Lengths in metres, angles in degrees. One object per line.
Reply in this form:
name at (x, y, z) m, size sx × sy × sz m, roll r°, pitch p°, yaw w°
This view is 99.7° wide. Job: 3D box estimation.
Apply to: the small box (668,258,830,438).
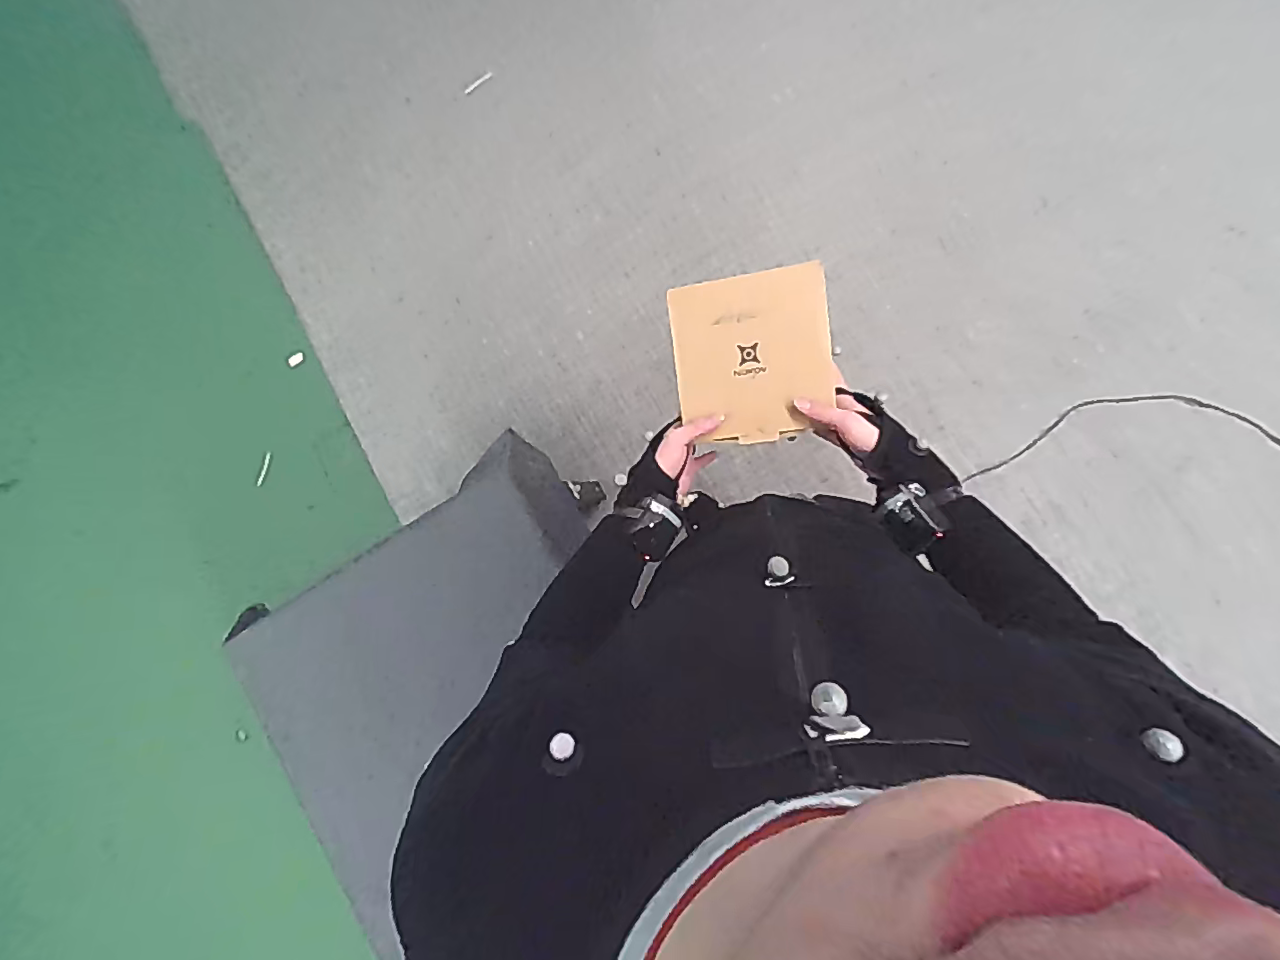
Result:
small box at (0.137, -0.153, 0.666) m, size 0.168 × 0.176 × 0.179 m, roll -6°, pitch 98°, yaw 13°
